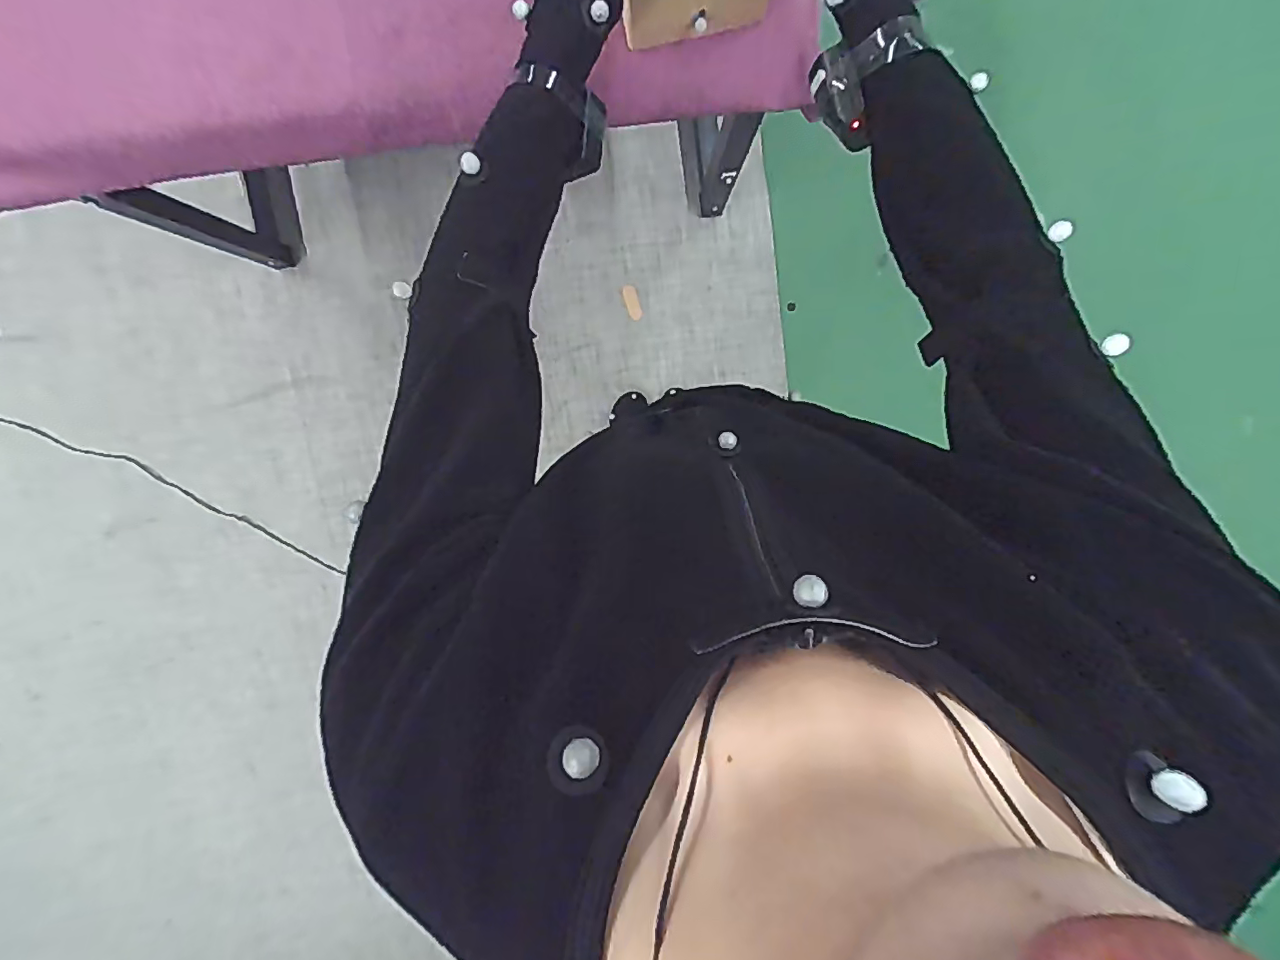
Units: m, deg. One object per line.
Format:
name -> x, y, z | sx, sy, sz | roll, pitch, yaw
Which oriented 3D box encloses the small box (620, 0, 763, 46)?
small box -> 0.057, -0.629, 0.595 | 0.179, 0.176, 0.168 | -11, 99, 2
